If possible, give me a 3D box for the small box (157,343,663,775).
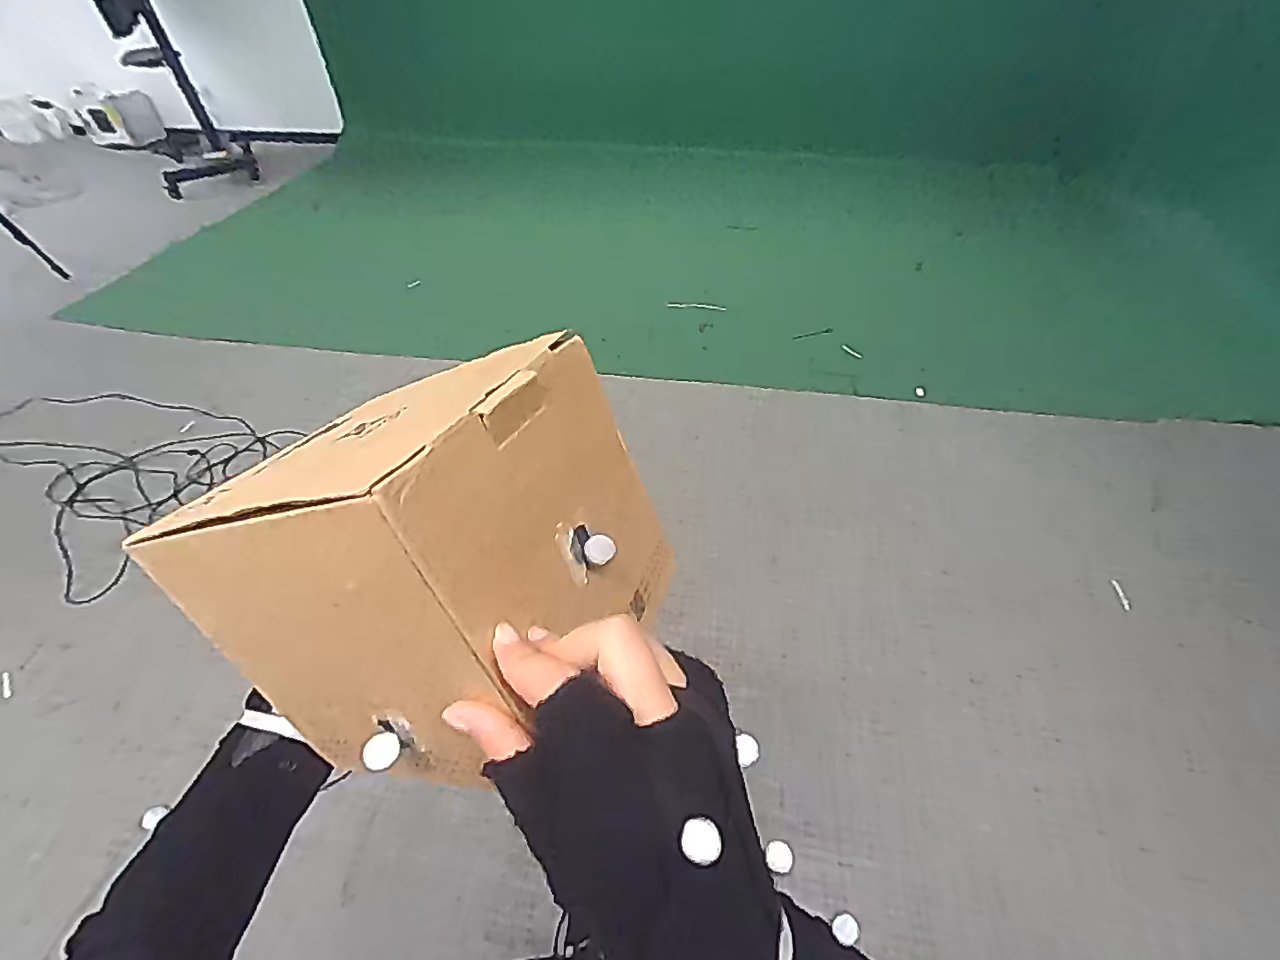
[{"bbox_3d":[-0.105,0.044,0.319,0.179,0.176,0.168,-9,28,27],"label":"small box"}]
